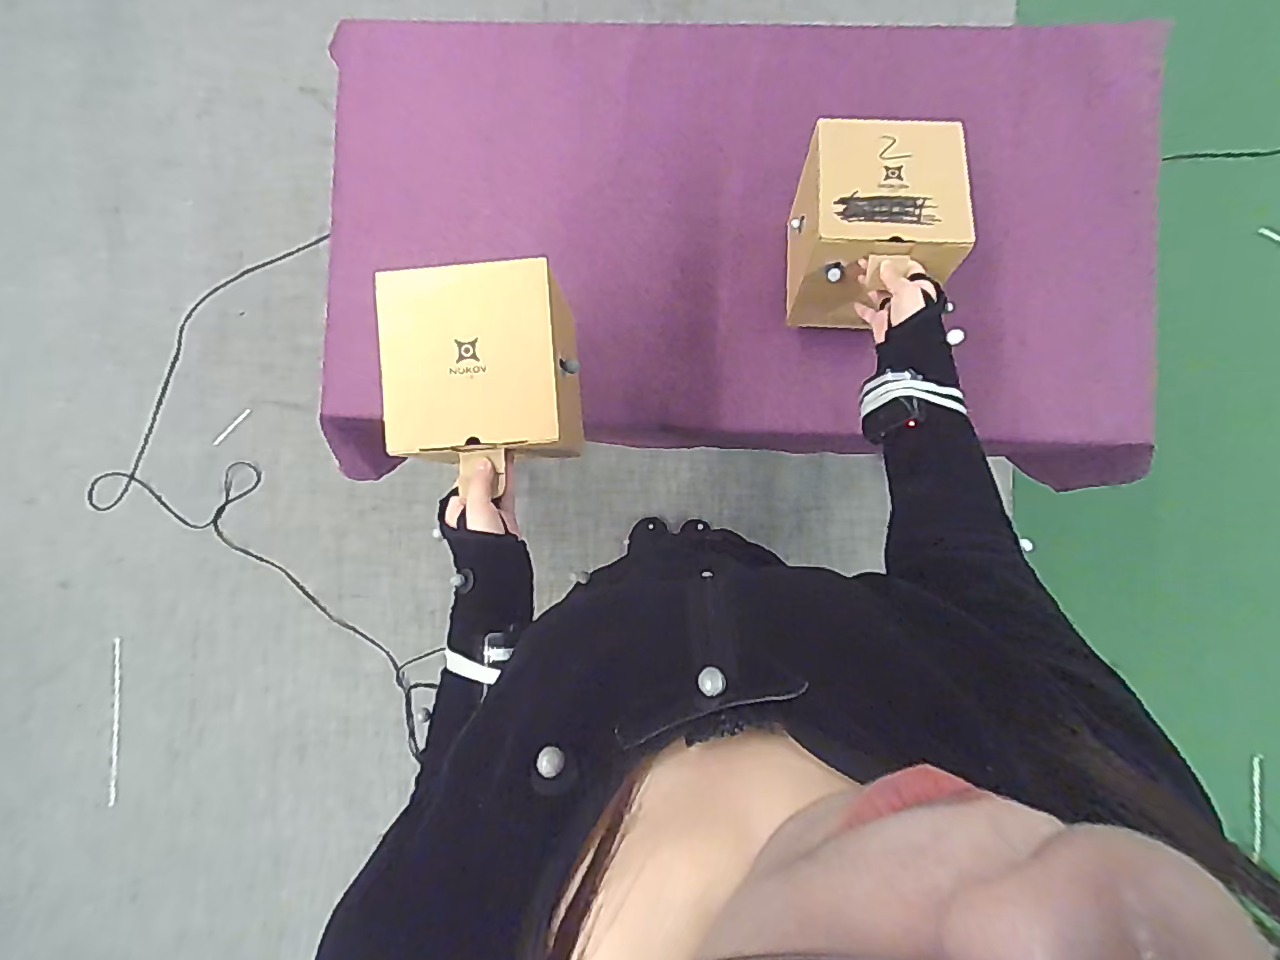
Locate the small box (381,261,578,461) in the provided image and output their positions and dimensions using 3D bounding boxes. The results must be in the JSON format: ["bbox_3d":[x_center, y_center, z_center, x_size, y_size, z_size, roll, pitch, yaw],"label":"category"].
[{"bbox_3d":[-0.164,-0.119,0.602,0.168,0.176,0.179,-4,89,1],"label":"small box"}]
